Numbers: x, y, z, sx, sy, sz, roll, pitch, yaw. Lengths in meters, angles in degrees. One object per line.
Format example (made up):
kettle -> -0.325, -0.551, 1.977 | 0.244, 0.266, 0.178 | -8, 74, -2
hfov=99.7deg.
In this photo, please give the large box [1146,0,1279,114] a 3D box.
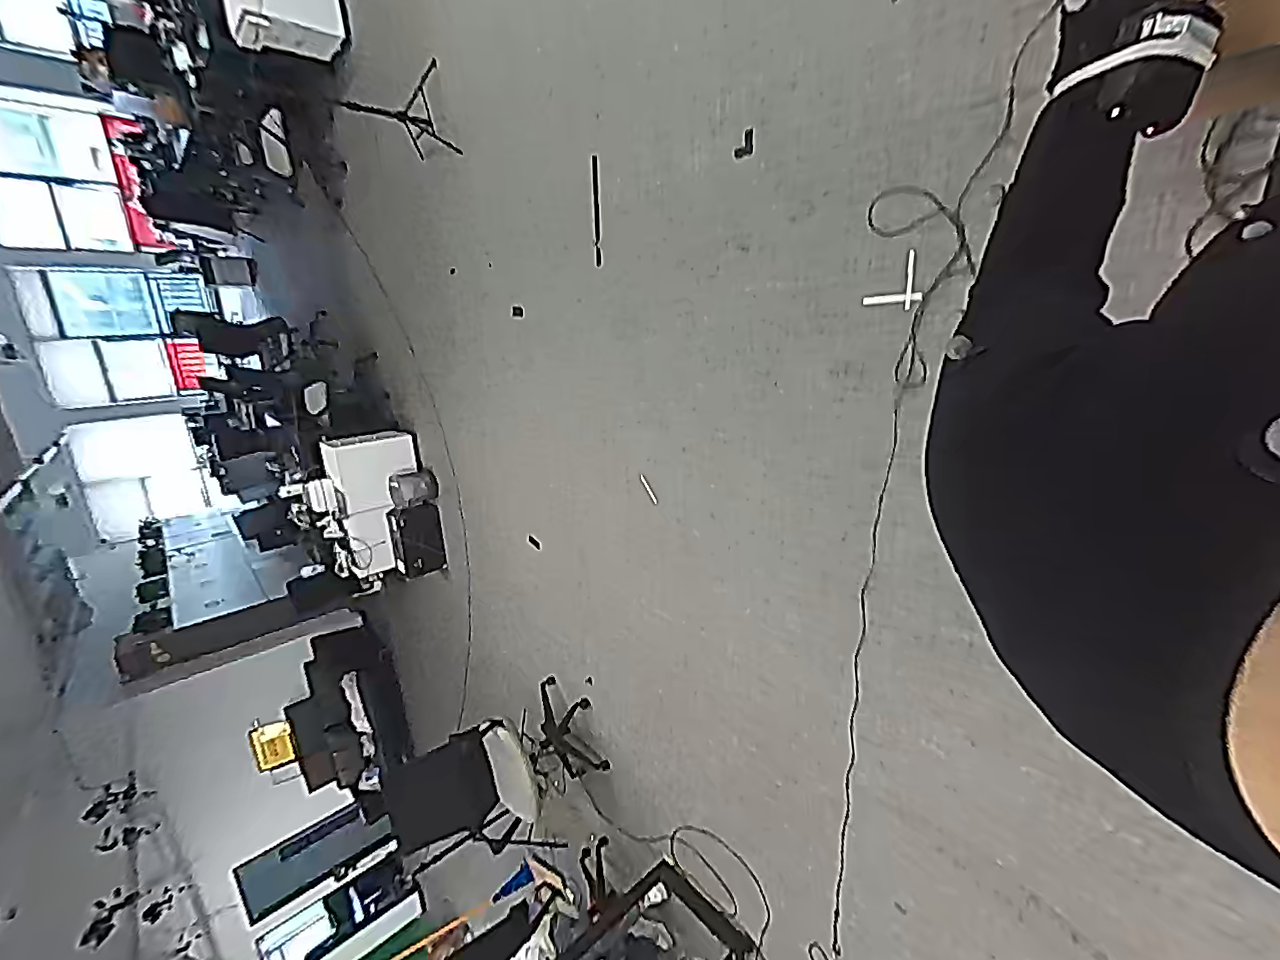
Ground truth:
large box -> 0.612, -0.484, 0.328 | 0.408, 0.320, 0.320 | 11, 116, 46
